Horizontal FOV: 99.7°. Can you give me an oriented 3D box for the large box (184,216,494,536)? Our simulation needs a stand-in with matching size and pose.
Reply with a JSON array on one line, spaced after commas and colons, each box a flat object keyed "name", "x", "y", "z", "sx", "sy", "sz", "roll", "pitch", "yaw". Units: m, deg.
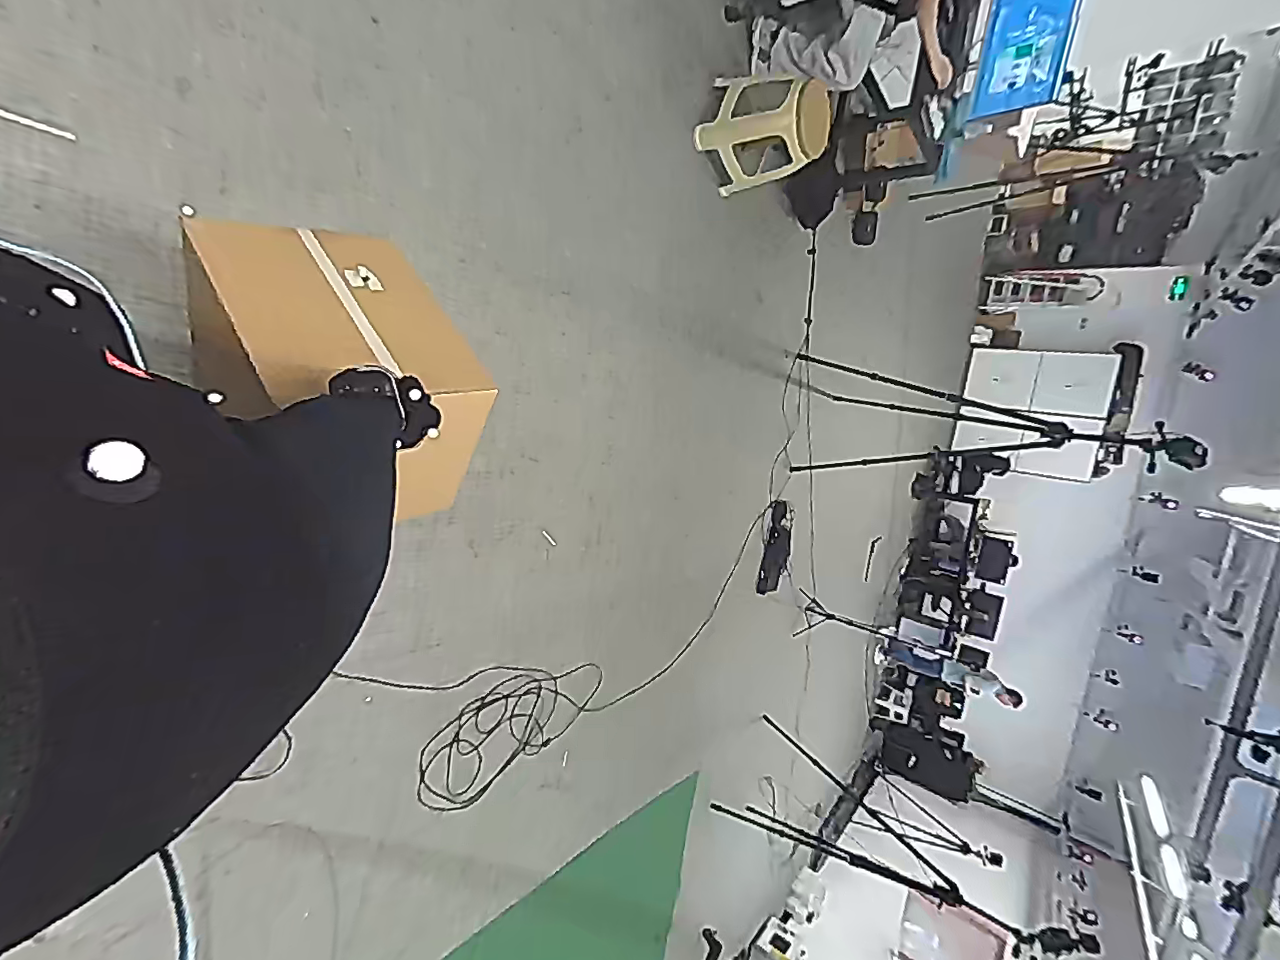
[{"name": "large box", "x": -0.516, "y": -0.179, "z": 0.926, "sx": 0.320, "sy": 0.408, "sz": 0.320, "roll": -16, "pitch": 151, "yaw": -46}]
